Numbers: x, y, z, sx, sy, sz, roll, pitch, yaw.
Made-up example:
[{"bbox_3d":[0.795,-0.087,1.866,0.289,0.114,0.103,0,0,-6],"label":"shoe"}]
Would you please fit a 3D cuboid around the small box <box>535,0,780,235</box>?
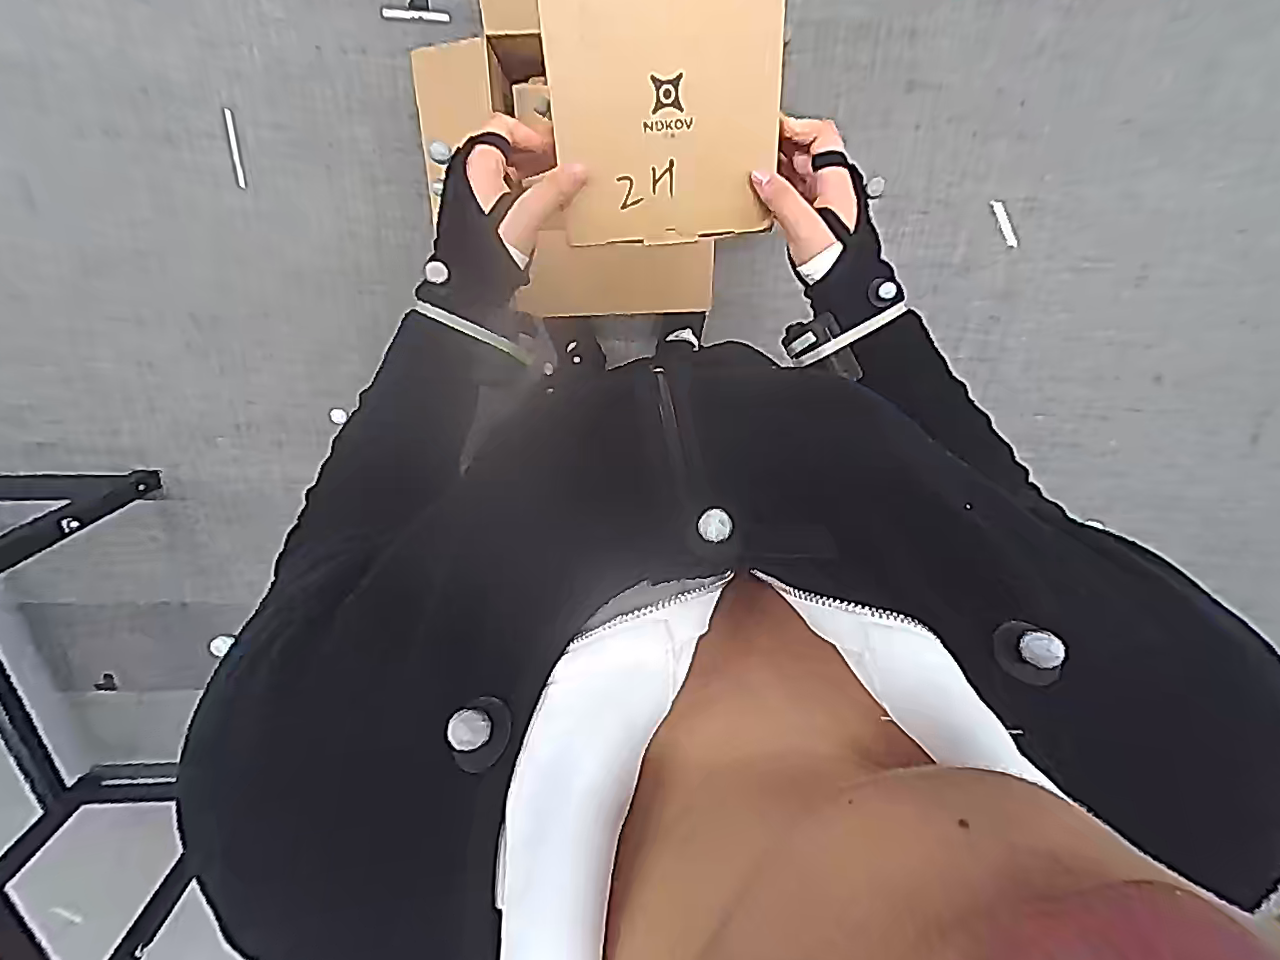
[{"bbox_3d":[0.010,-0.311,0.451,0.168,0.176,0.179,-5,120,0],"label":"small box"}]
